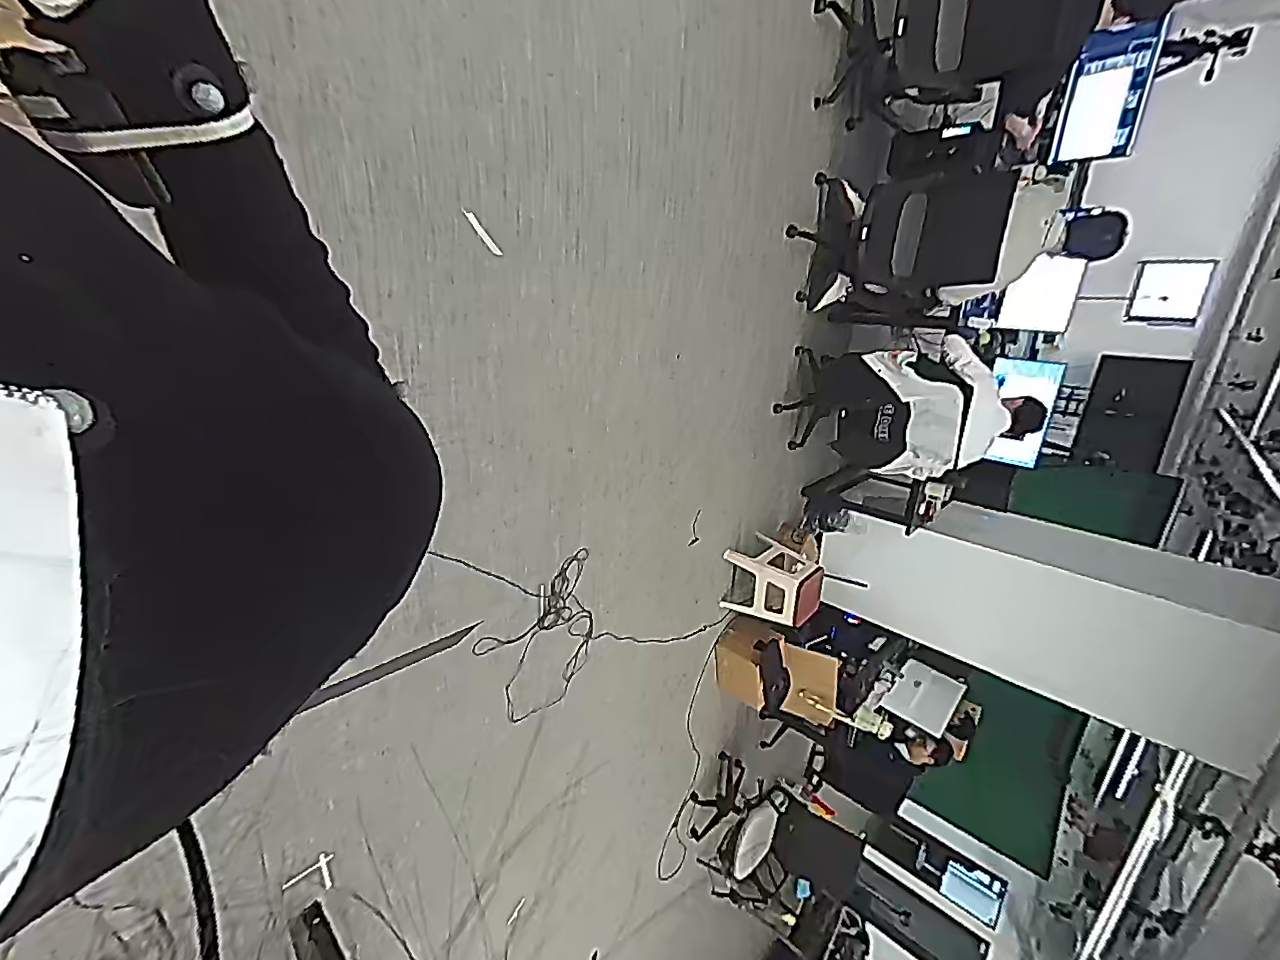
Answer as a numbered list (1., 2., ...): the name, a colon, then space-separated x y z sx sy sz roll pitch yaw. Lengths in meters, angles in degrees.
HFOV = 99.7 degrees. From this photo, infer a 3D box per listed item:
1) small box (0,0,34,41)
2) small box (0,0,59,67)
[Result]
1. small box: -0.587 -0.475 0.398 0.168 0.176 0.179 -9 113 -51
2. small box: -0.700 -0.523 0.509 0.179 0.176 0.168 -14 116 -48
